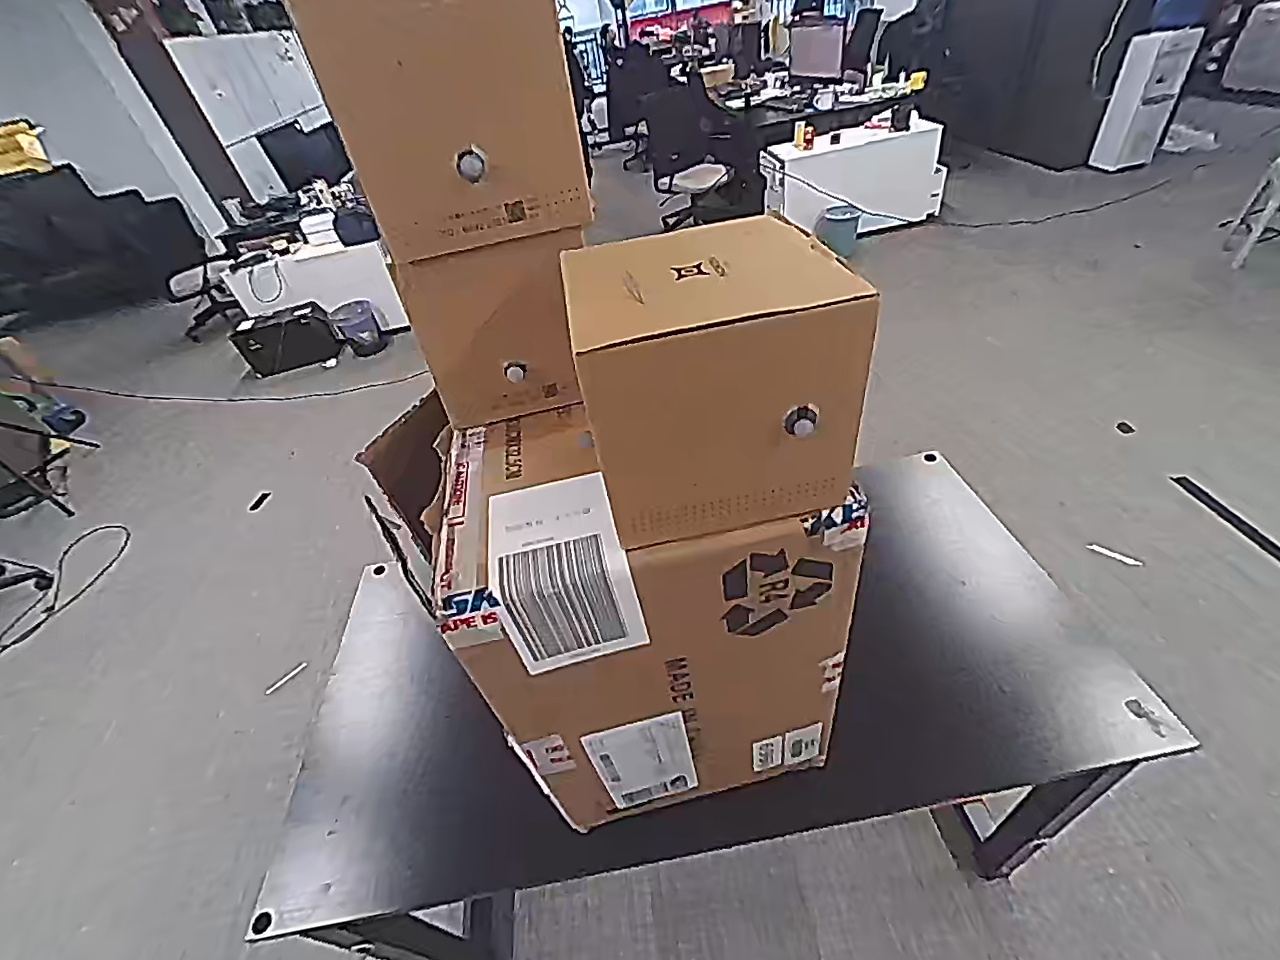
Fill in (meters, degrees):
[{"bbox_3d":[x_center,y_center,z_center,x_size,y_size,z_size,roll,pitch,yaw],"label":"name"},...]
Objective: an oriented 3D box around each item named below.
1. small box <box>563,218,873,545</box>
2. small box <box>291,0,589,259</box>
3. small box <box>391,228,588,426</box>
[{"bbox_3d":[0.047,-0.075,0.415,0.179,0.176,0.168,-13,41,-1],"label":"small box"},{"bbox_3d":[-0.148,-0.303,0.456,0.168,0.176,0.179,-15,40,-6],"label":"small box"},{"bbox_3d":[-0.134,-0.182,0.567,0.168,0.176,0.179,-14,40,-5],"label":"small box"}]
